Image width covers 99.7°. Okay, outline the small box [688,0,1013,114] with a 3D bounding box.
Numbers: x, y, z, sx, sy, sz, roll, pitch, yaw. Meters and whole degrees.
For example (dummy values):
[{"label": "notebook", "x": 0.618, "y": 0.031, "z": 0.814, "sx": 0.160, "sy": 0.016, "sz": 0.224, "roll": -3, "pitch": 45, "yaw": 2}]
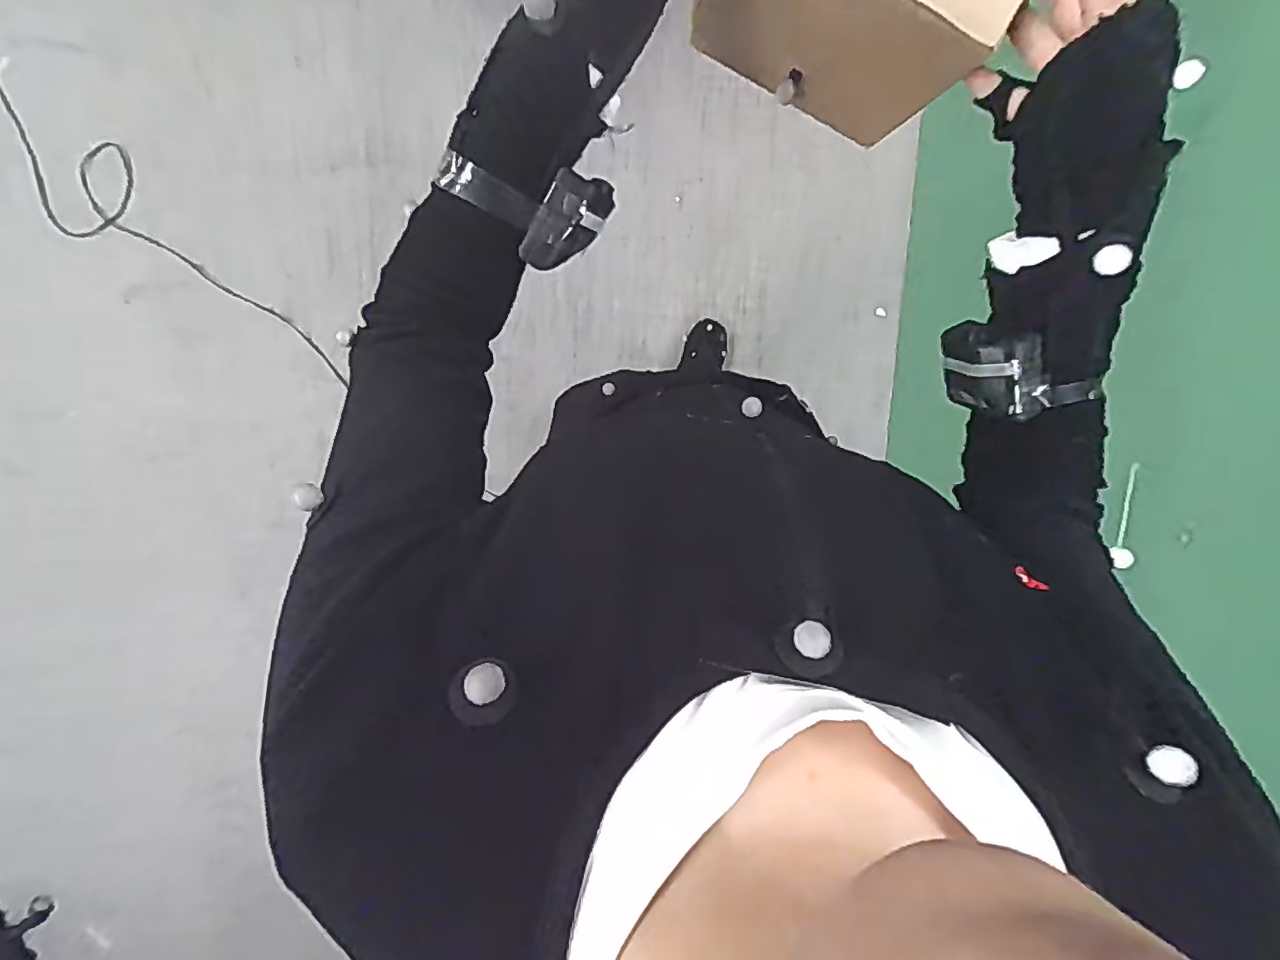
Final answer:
[{"label": "small box", "x": 0.147, "y": -0.369, "z": 0.336, "sx": 0.179, "sy": 0.176, "sz": 0.168, "roll": 25, "pitch": 103, "yaw": -8}]
